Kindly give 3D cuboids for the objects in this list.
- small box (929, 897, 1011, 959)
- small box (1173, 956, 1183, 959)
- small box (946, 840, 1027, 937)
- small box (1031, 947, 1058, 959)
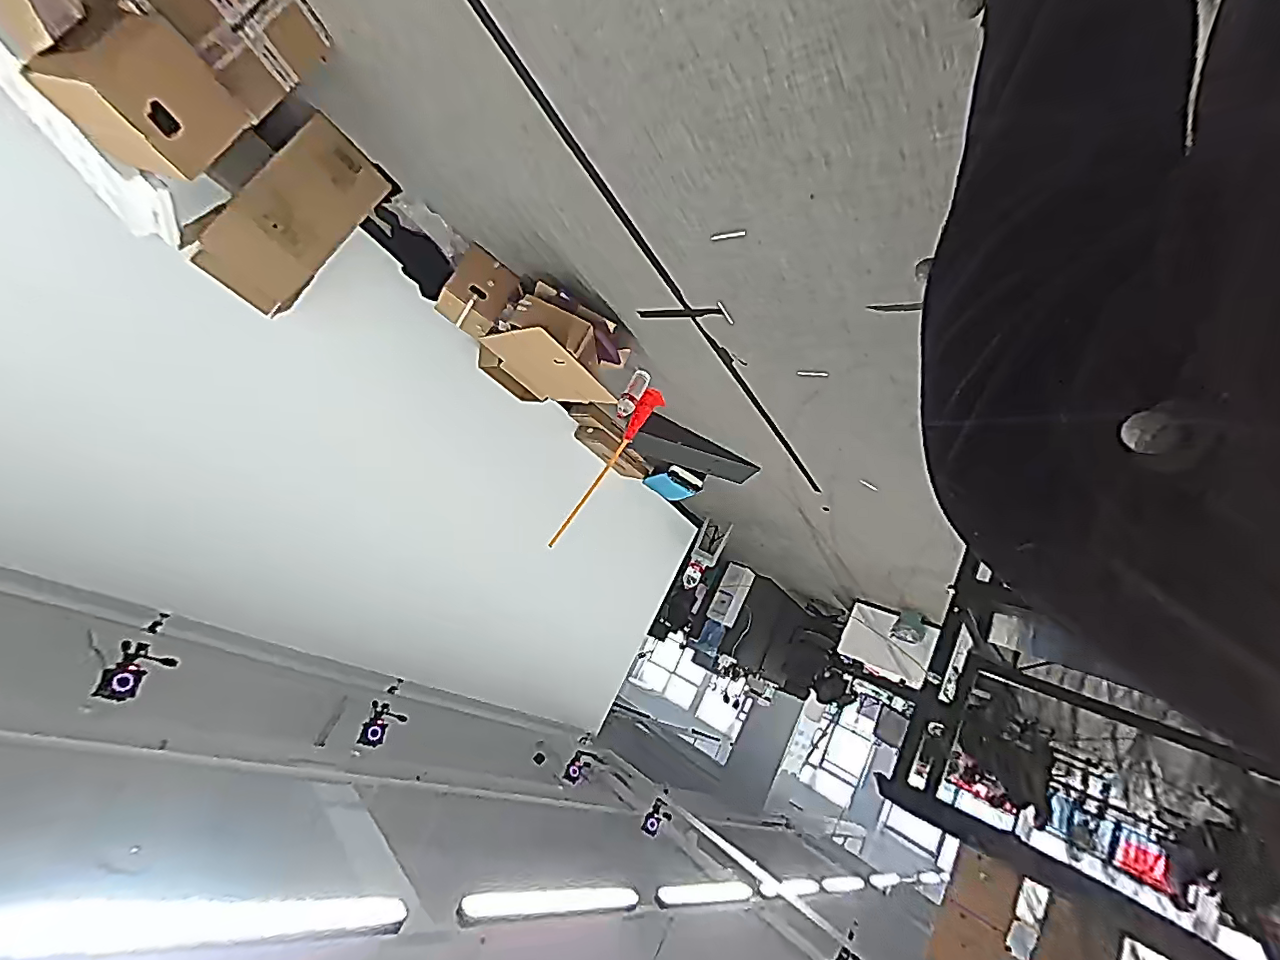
[{"bbox_3d":[0.965,1.351,1.578,0.168,0.176,0.179,15,161,42],"label":"small box"},{"bbox_3d":[1.389,1.301,1.298,0.168,0.176,0.179,16,163,41],"label":"small box"},{"bbox_3d":[1.038,1.208,1.615,0.168,0.176,0.179,13,161,42],"label":"small box"},{"bbox_3d":[1.128,1.393,1.436,0.168,0.176,0.179,12,160,44],"label":"small box"}]
